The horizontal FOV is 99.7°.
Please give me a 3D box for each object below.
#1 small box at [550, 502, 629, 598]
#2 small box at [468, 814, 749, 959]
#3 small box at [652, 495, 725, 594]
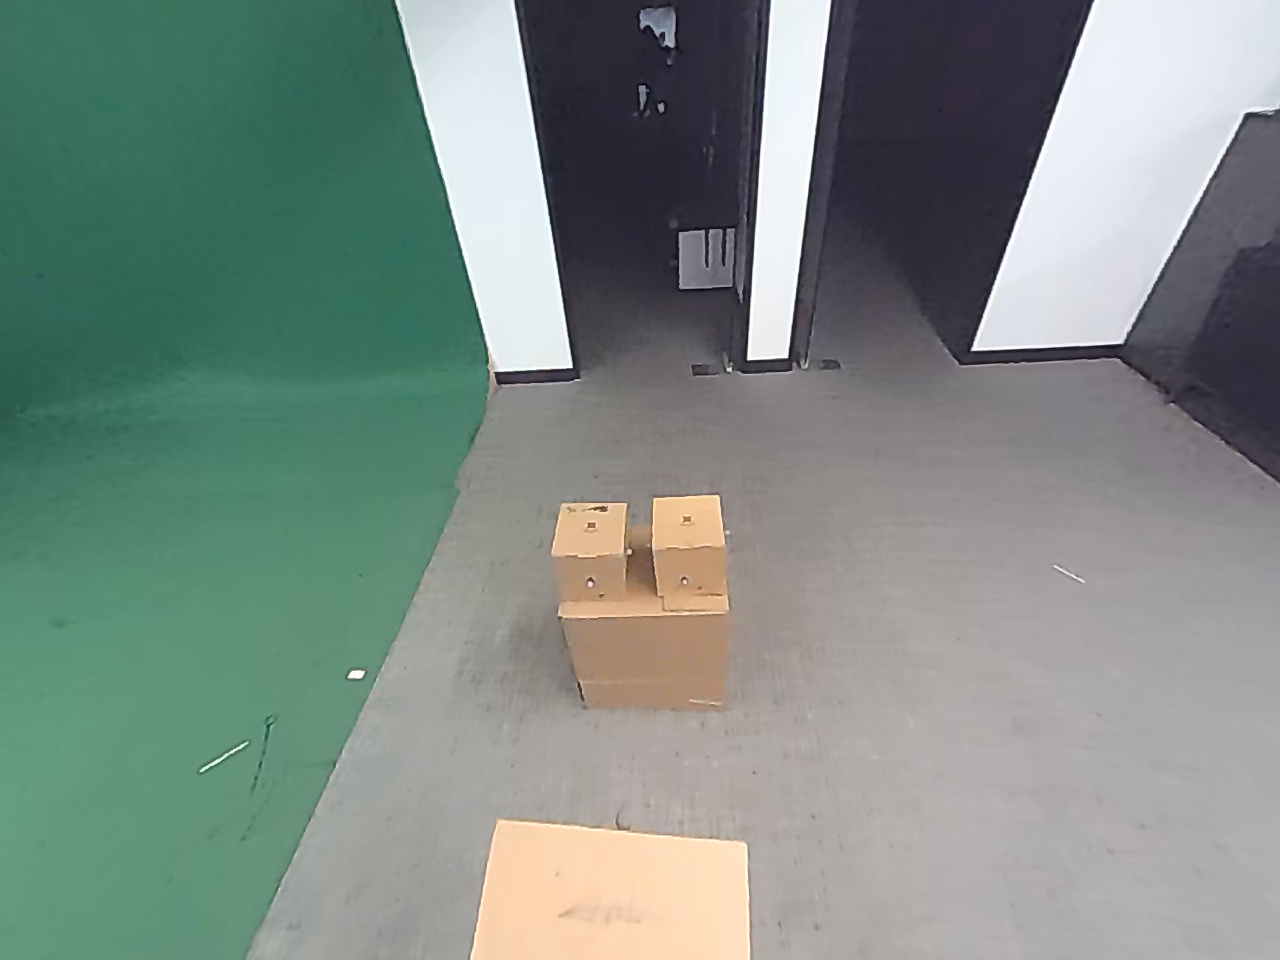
[{"bbox_3d":[-0.115,0.175,1.323,0.168,0.176,0.179,-1,42,3],"label":"small box"},{"bbox_3d":[-0.031,0.340,0.368,0.168,0.176,0.179,10,56,-5],"label":"small box"},{"bbox_3d":[0.117,0.157,1.321,0.168,0.176,0.179,-3,40,4],"label":"small box"}]
